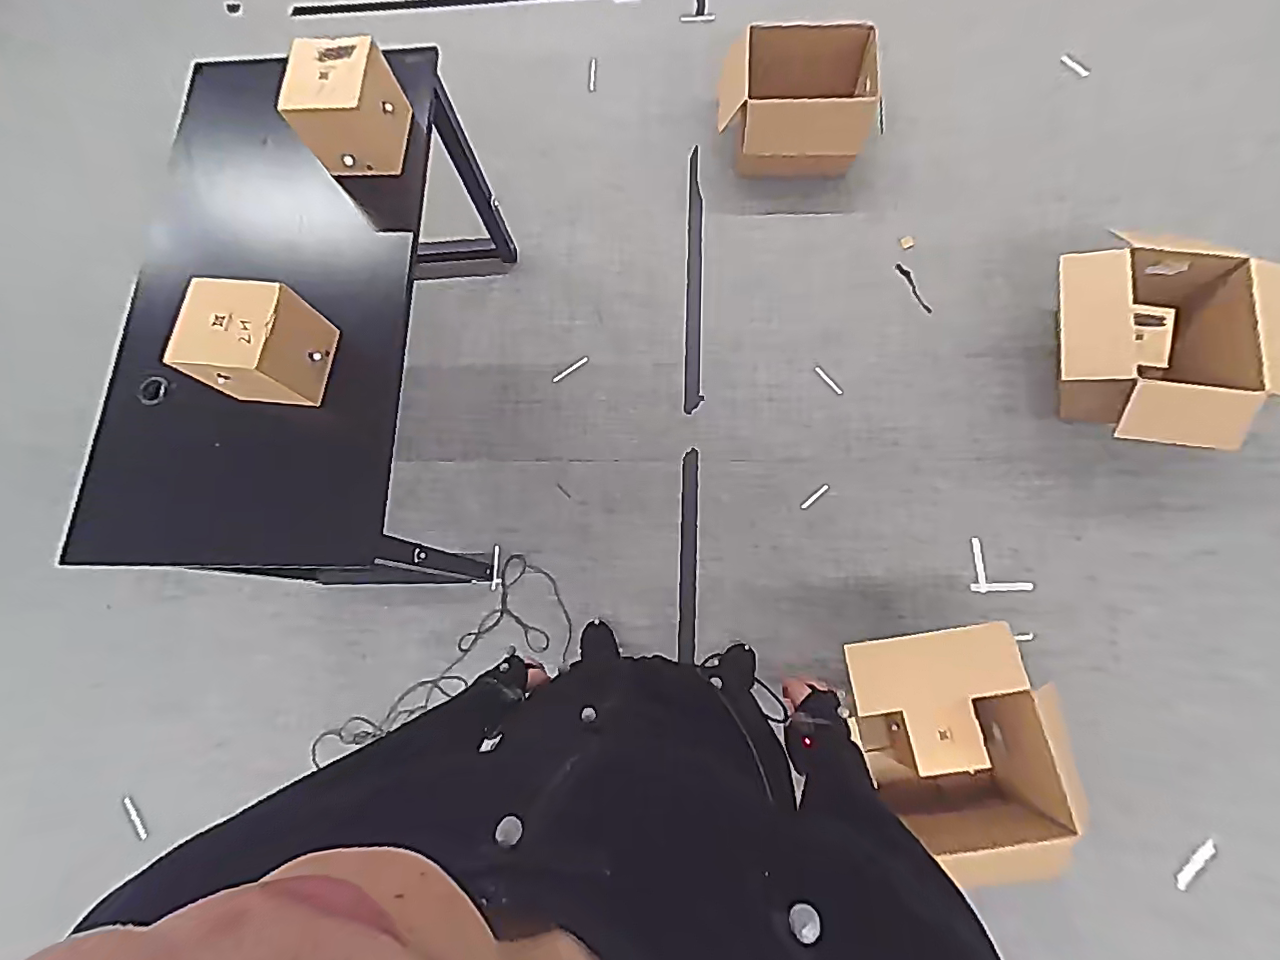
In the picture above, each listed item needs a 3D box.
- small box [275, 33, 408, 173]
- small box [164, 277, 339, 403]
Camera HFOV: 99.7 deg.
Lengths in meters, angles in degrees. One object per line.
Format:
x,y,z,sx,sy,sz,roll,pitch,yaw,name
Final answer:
-0.604,-0.772,1.118,0.168,0.176,0.179,2,78,5,small box
-0.705,-0.251,1.001,0.179,0.176,0.168,5,77,5,small box
